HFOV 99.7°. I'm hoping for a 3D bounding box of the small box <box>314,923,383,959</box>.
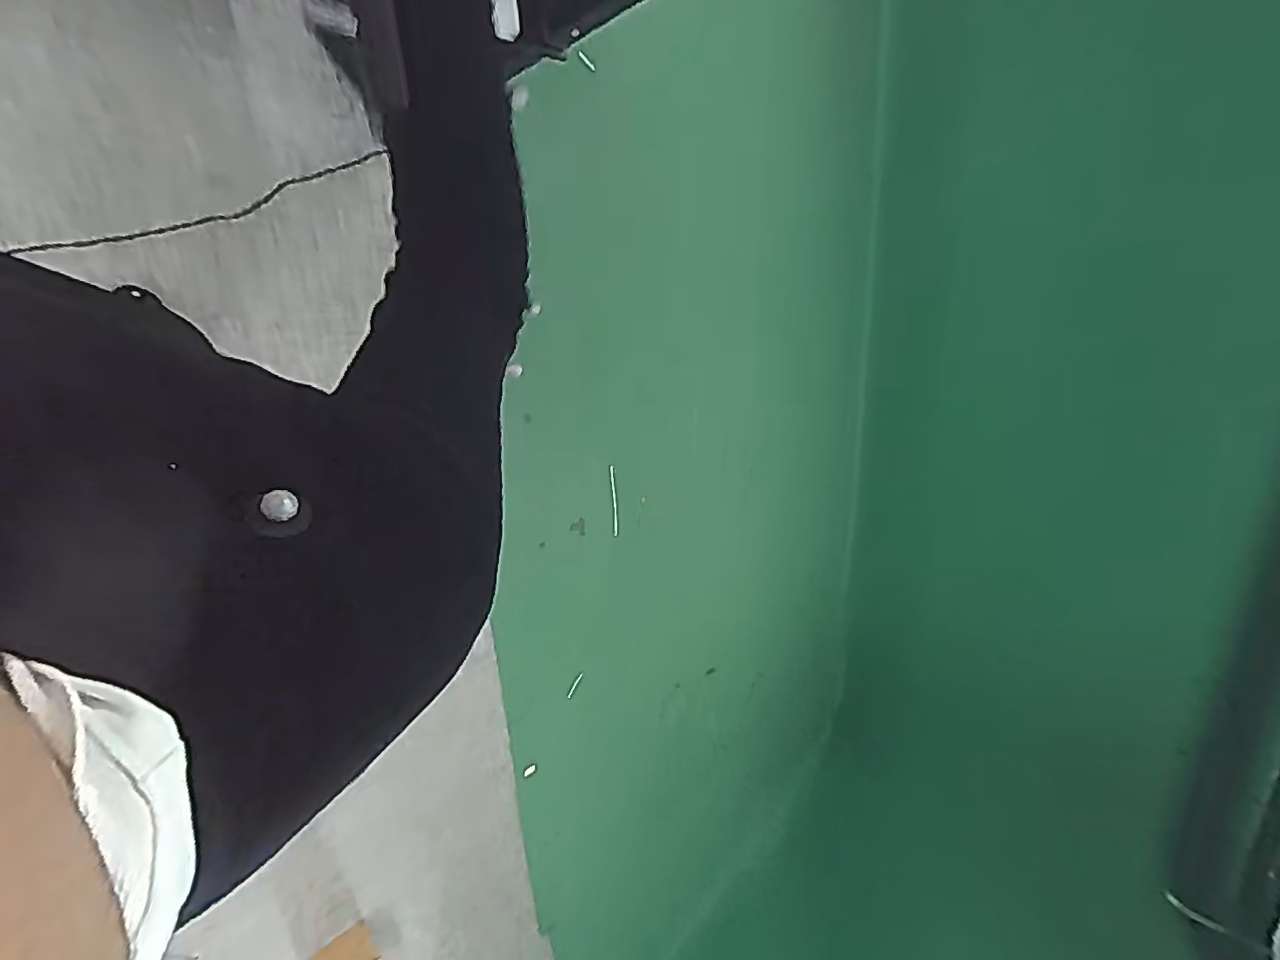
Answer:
[{"bbox_3d":[-0.927,1.589,1.727,0.179,0.176,0.168,-21,114,-41],"label":"small box"}]
